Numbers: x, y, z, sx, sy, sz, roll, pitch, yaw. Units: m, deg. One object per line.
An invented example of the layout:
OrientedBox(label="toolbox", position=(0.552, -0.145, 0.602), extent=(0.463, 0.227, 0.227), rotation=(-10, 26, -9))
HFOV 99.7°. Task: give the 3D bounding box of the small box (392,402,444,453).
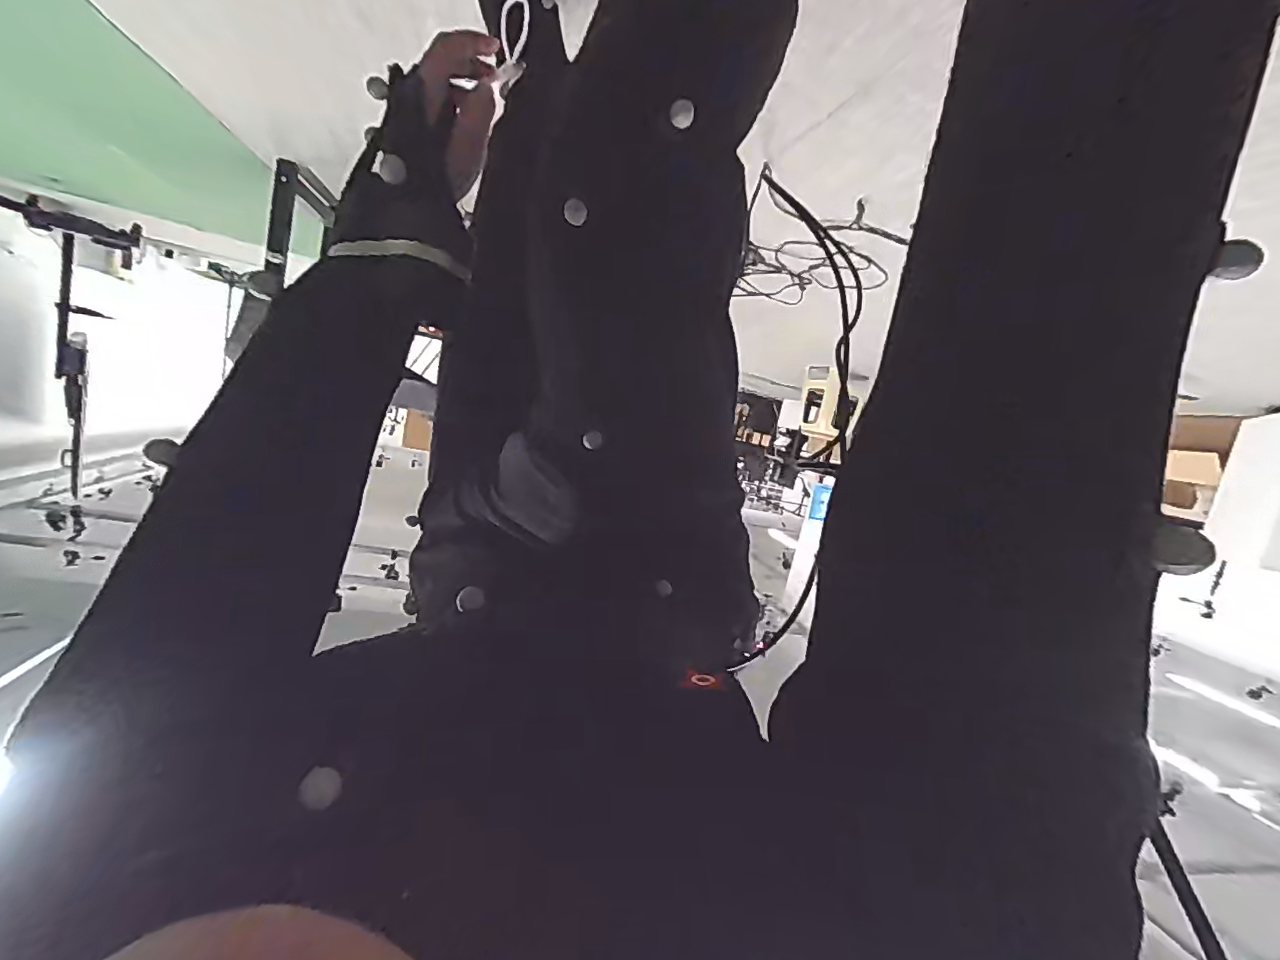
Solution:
OrientedBox(label="small box", position=(-0.897, -0.218, 2.192), extent=(0.168, 0.176, 0.179), rotation=(9, -172, -19))
